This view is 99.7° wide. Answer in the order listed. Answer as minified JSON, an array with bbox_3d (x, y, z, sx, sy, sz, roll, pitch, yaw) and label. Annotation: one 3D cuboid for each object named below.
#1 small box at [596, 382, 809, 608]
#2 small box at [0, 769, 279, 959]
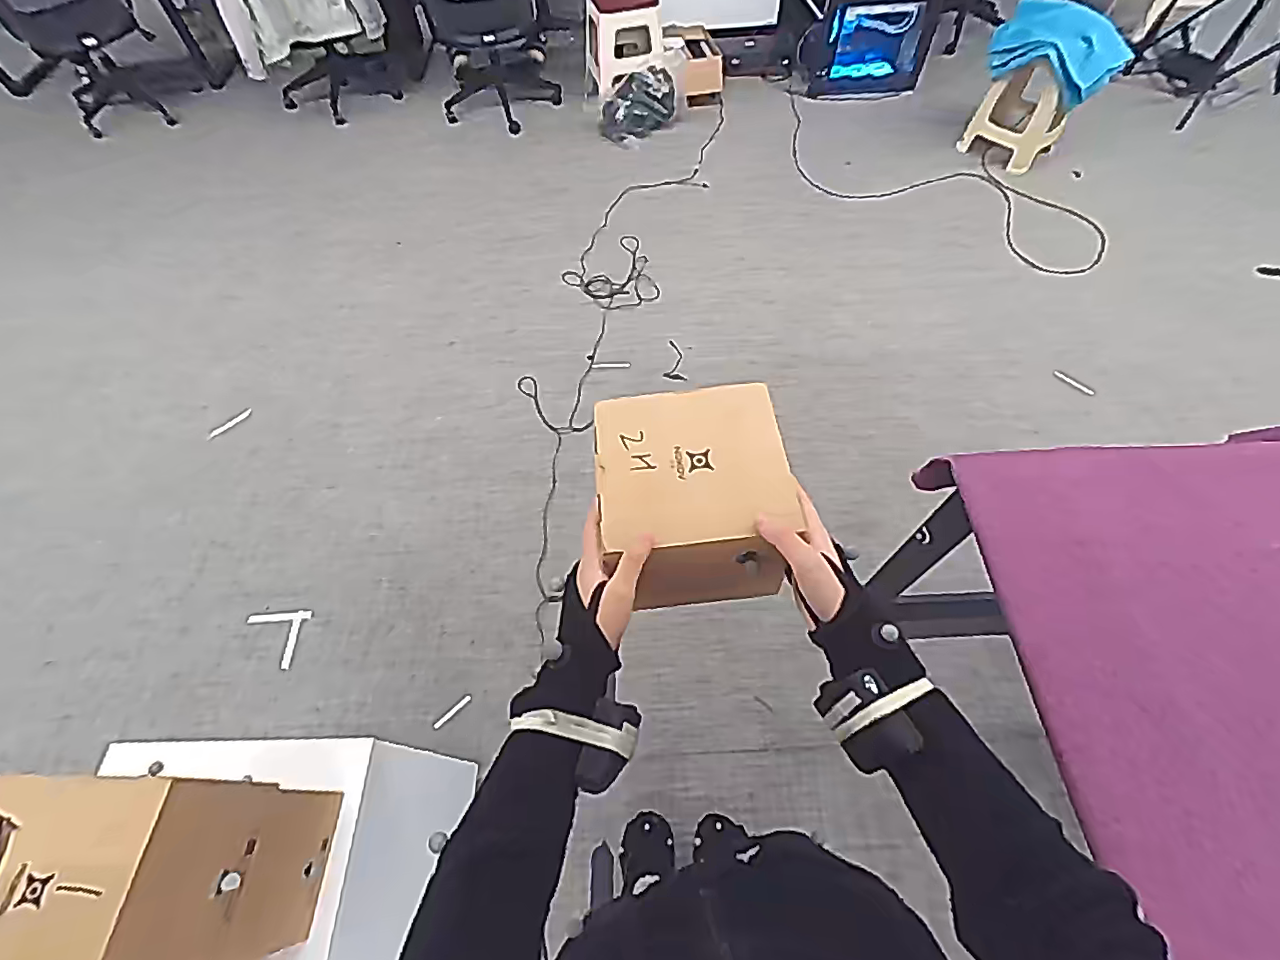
[{"bbox_3d":[0.054,0.023,0.559,0.179,0.176,0.168,-7,59,1],"label":"small box"},{"bbox_3d":[-0.500,0.375,0.515,0.179,0.176,0.168,1,60,1],"label":"small box"}]
